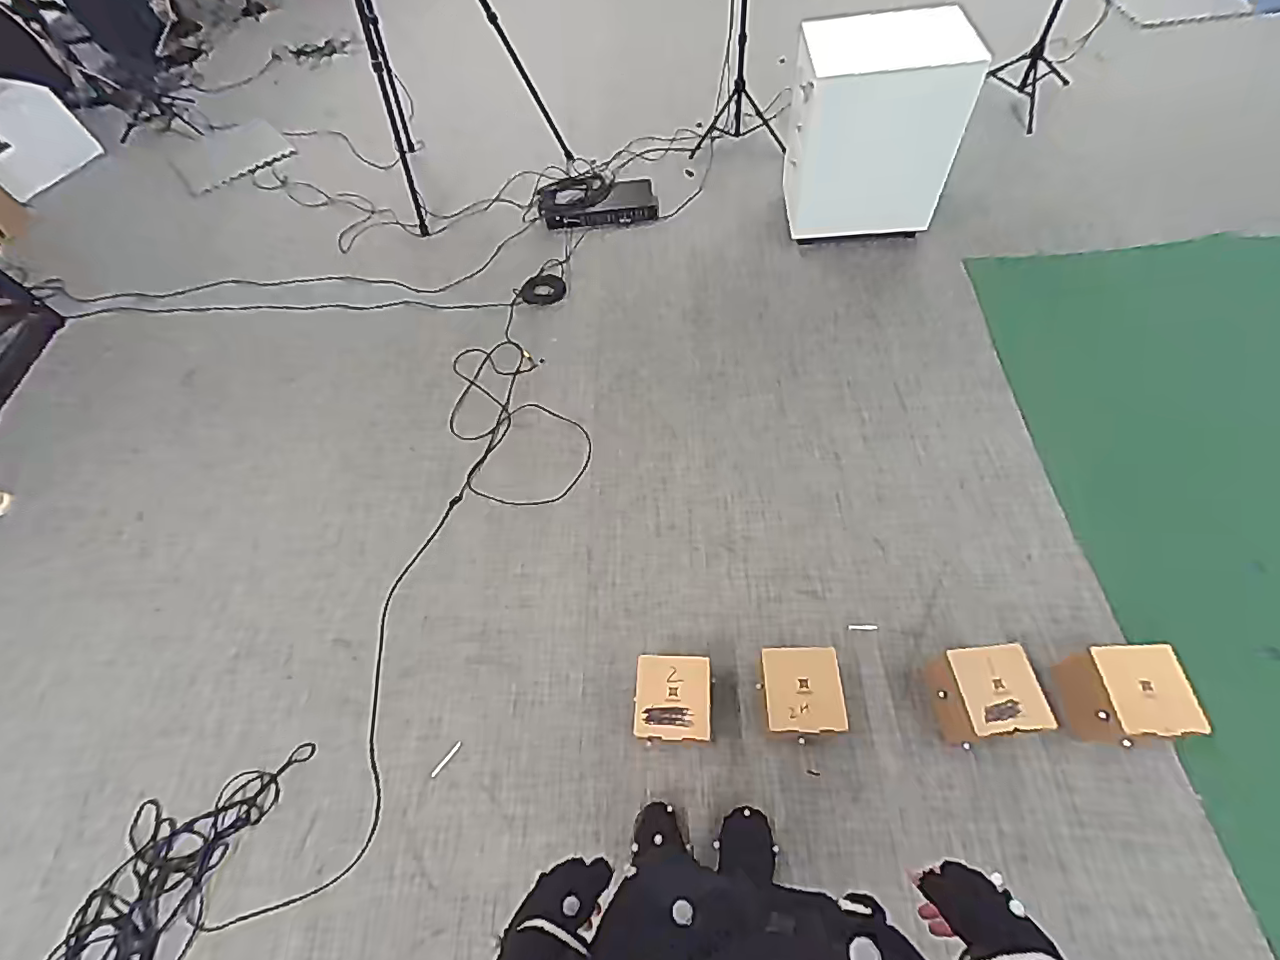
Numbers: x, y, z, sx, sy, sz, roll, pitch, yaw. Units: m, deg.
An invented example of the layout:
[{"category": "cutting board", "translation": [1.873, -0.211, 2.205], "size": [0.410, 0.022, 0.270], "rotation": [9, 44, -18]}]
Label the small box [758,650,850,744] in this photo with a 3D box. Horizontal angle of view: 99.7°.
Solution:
[{"category": "small box", "translation": [0.367, 0.501, 1.244], "size": [0.168, 0.176, 0.179], "rotation": [-3, 59, 6]}]

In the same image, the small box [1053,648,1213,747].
[{"category": "small box", "translation": [1.059, 0.480, 1.185], "size": [0.168, 0.176, 0.179], "rotation": [-4, 58, 5]}]

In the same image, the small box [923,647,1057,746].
[{"category": "small box", "translation": [0.768, 0.489, 1.210], "size": [0.168, 0.176, 0.179], "rotation": [-6, 57, 2]}]
